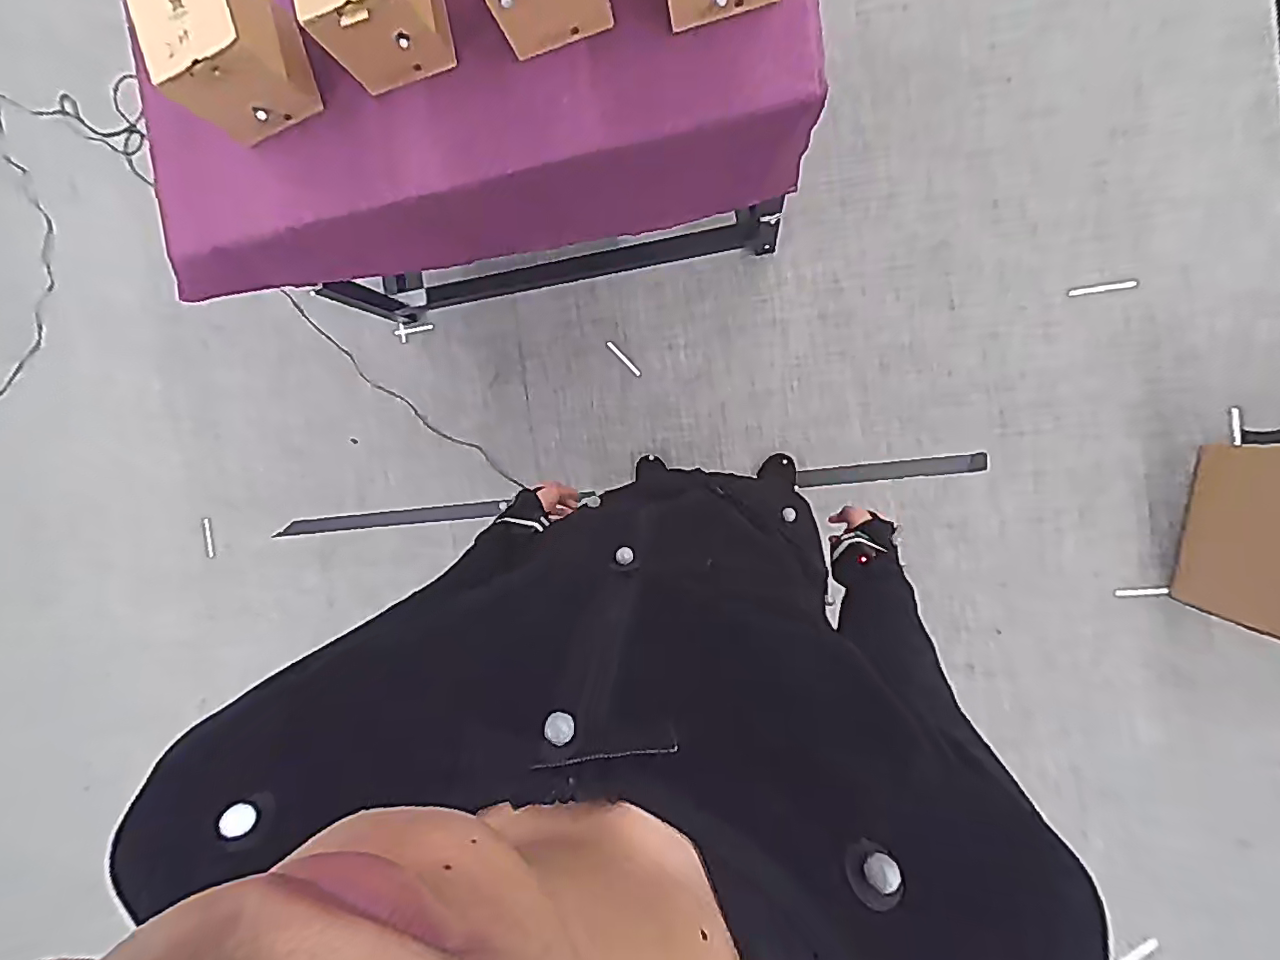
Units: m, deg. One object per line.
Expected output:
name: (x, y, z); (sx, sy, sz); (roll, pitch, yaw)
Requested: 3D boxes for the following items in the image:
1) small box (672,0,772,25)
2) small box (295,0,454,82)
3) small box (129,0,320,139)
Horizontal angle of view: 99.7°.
small box: (0.107, -0.784, 0.733); (0.168, 0.176, 0.179); (-9, 93, 12)
small box: (-0.408, -0.759, 0.833); (0.168, 0.176, 0.179); (-9, 92, 10)
small box: (-0.669, -0.709, 0.882); (0.168, 0.176, 0.179); (-17, 91, 12)
